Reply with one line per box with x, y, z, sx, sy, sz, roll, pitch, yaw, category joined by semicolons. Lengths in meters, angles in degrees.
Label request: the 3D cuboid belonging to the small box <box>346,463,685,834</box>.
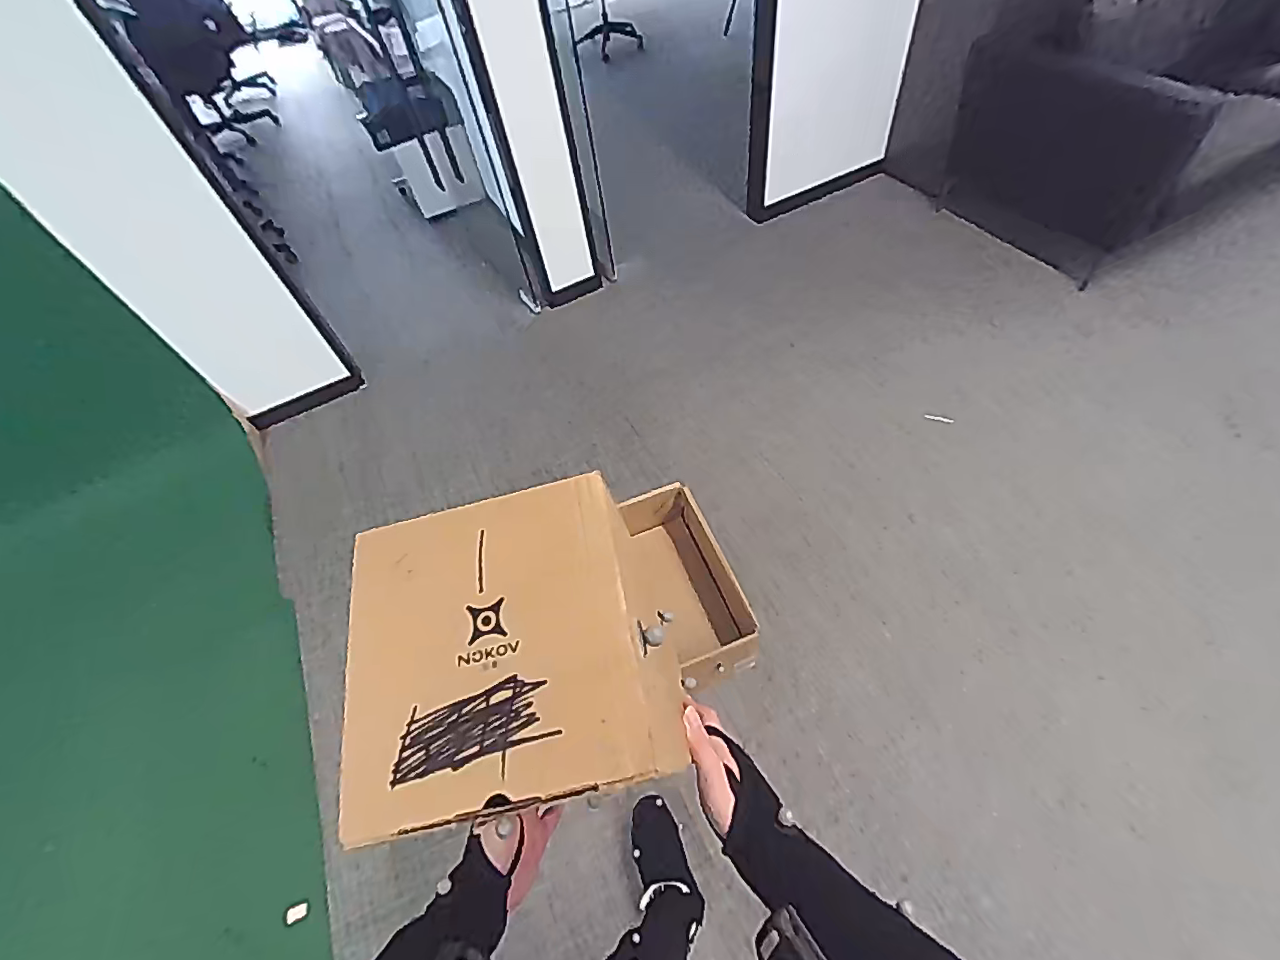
-0.069;0.118;0.371;0.168;0.176;0.179;-13;60;2;small box
